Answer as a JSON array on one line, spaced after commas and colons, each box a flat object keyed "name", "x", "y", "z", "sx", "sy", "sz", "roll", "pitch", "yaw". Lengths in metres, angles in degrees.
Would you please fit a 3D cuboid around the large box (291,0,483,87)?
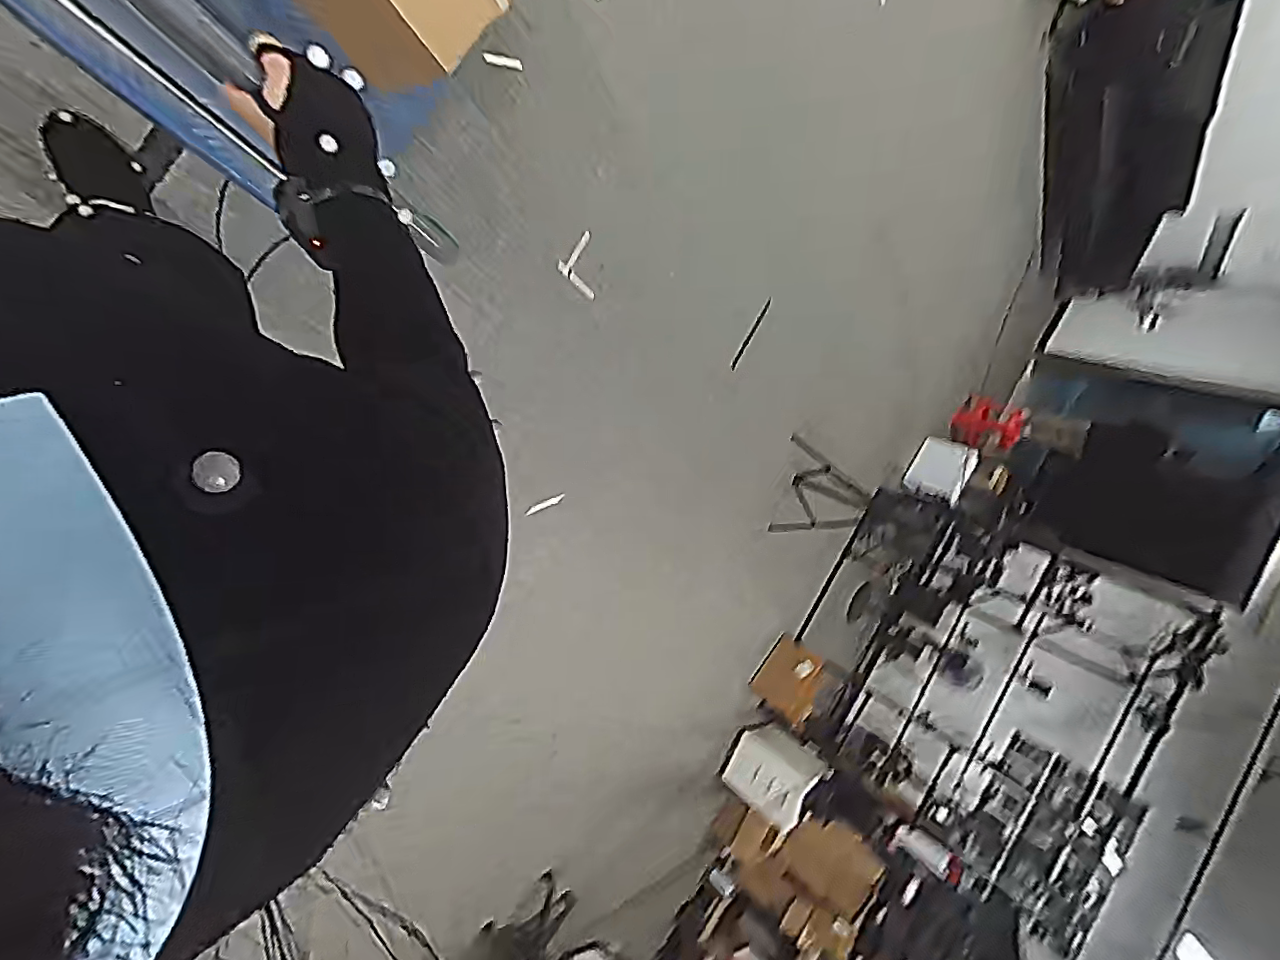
[{"name": "large box", "x": -0.459, "y": -0.941, "z": 0.856, "sx": 0.408, "sy": 0.320, "sz": 0.320, "roll": 38, "pitch": 81, "yaw": -48}]
